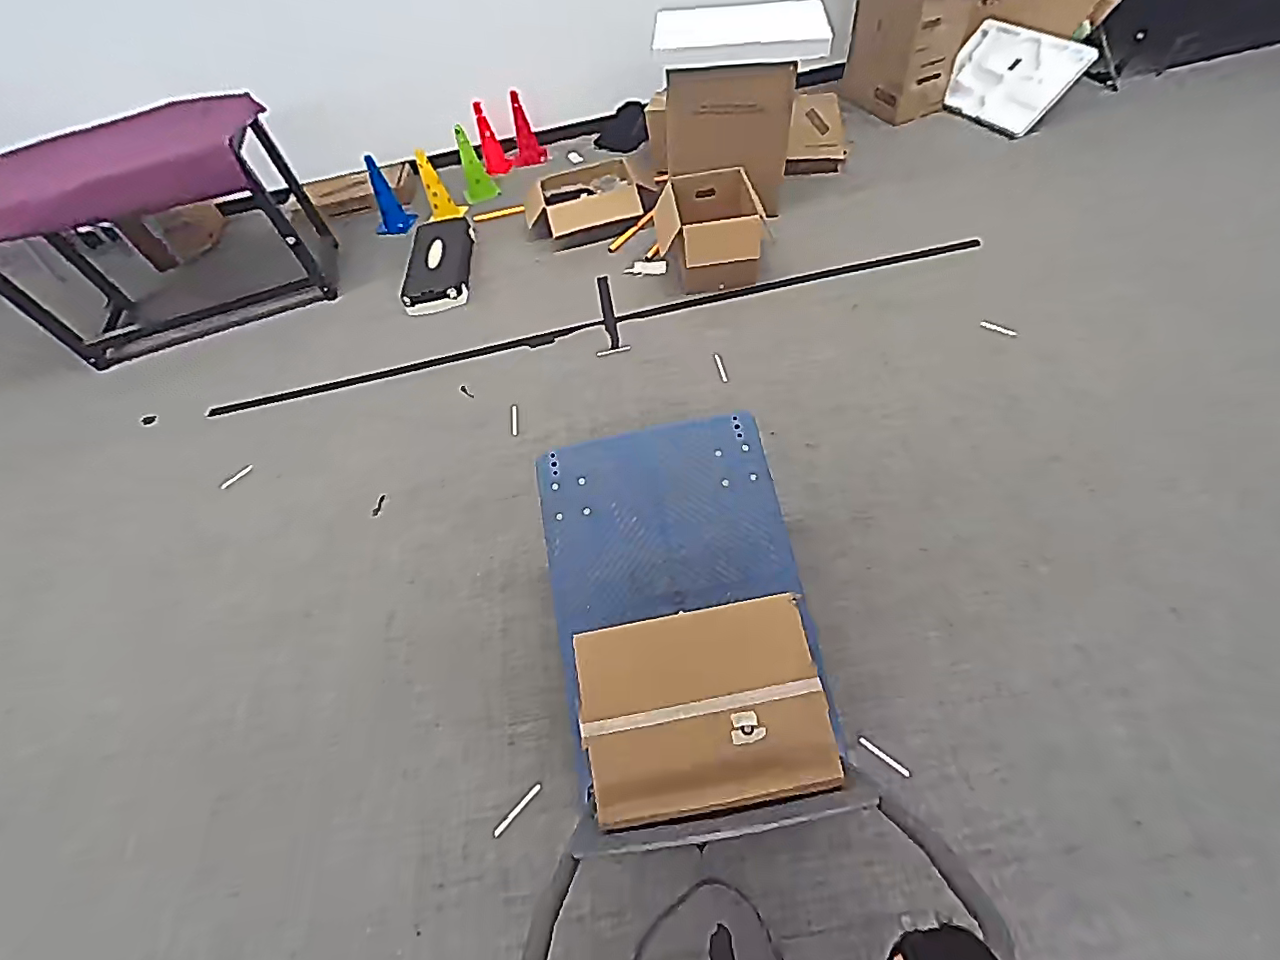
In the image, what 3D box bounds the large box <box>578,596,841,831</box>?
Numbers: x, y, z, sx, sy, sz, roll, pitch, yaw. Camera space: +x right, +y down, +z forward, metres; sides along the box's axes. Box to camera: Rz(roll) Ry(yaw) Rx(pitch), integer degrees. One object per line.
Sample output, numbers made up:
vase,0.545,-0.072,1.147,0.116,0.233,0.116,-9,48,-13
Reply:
large box,0.118,0.440,1.072,0.408,0.320,0.320,-11,72,0
